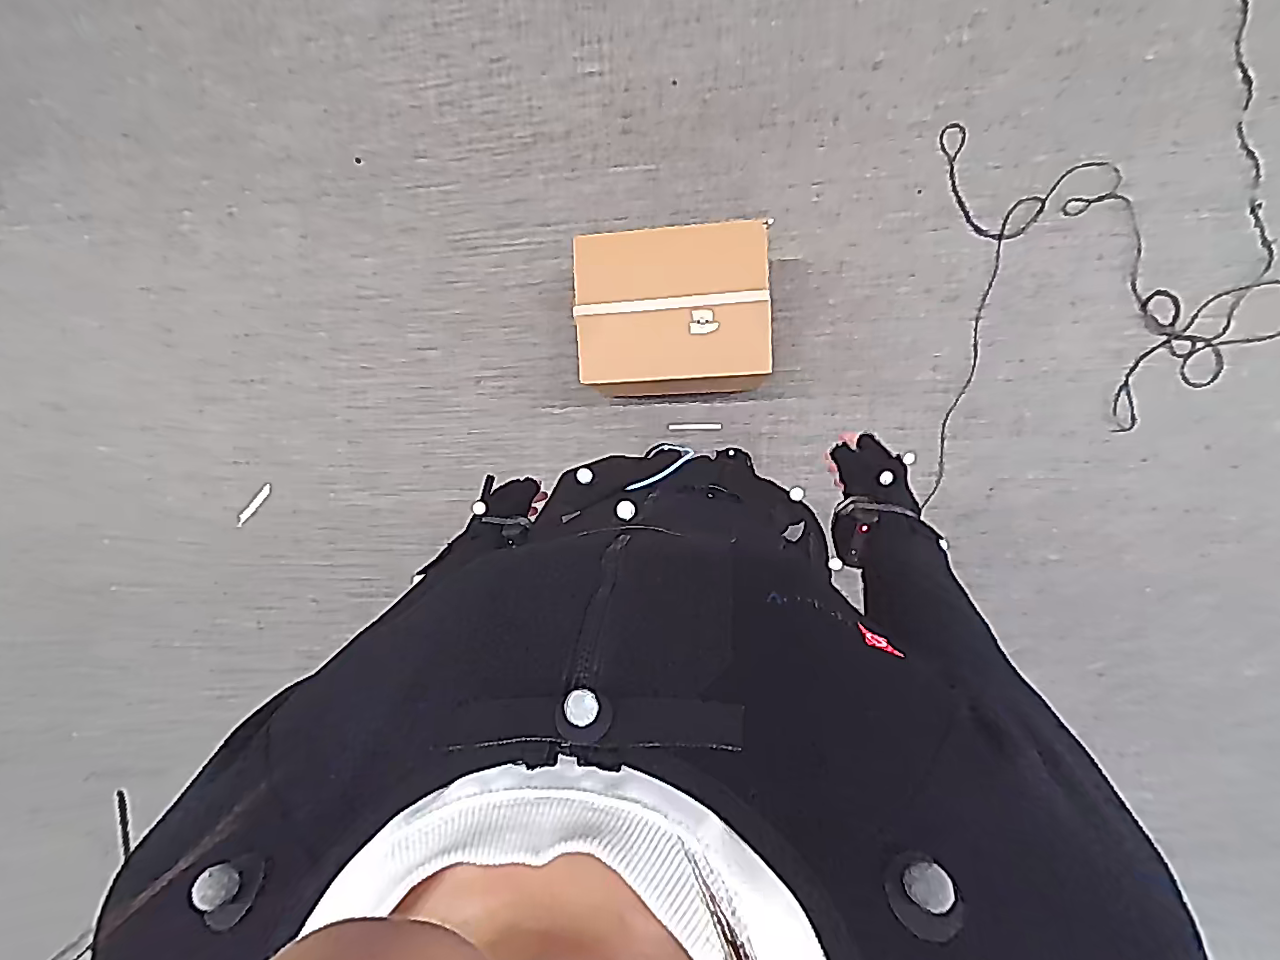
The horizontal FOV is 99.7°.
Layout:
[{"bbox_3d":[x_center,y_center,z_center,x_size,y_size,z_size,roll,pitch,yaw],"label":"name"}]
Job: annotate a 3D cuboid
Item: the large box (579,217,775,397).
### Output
[{"bbox_3d":[0.091,-0.378,1.274,0.408,0.320,0.320,-2,93,7],"label":"large box"}]
